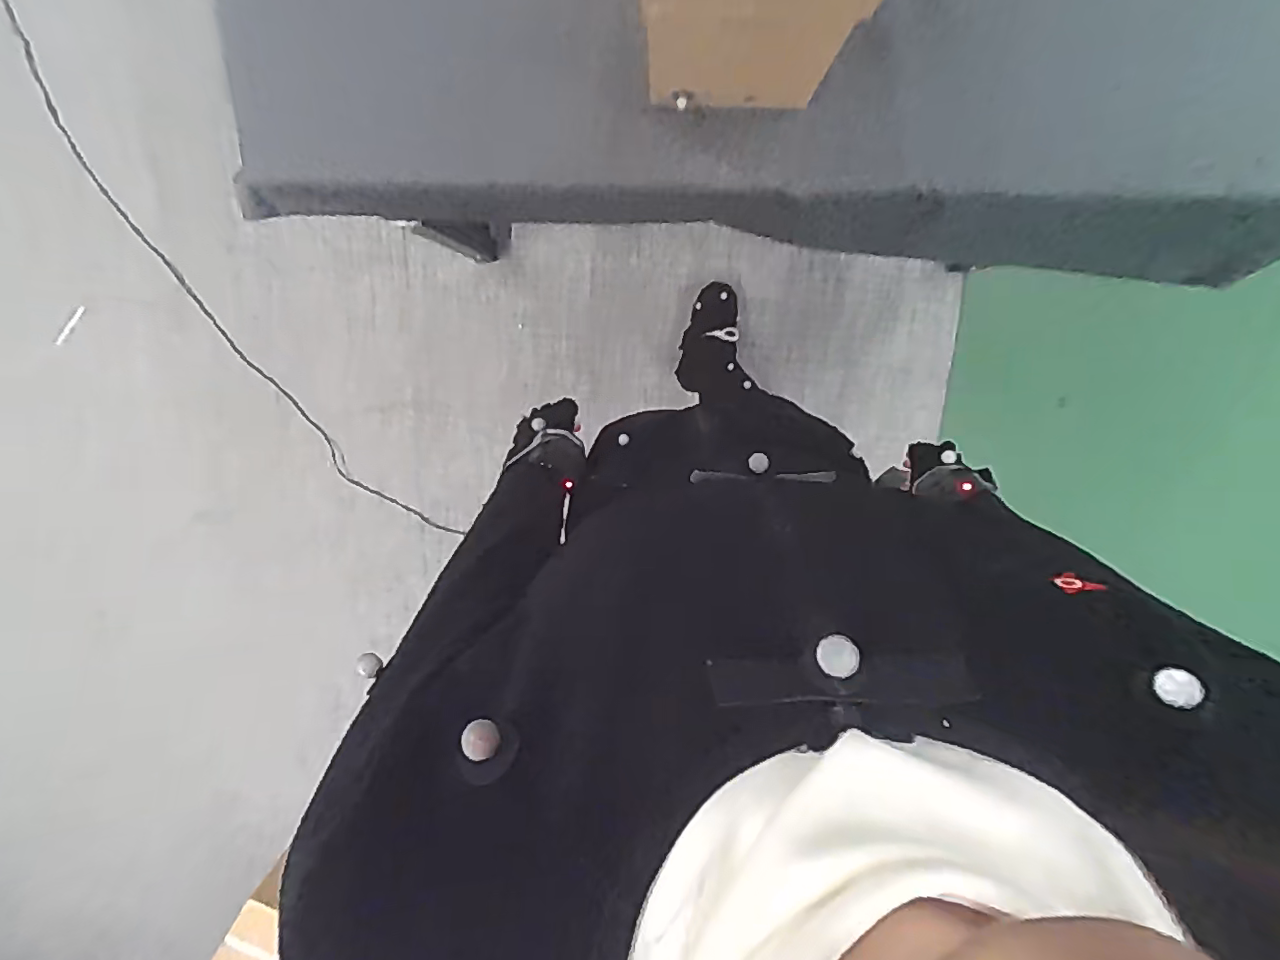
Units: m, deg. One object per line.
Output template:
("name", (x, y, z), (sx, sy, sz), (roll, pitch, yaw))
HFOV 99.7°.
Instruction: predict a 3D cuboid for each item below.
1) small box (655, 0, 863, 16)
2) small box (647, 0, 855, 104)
("small box", (0.090, -0.424, 0.326), (0.179, 0.176, 0.168), (-1, 101, 2))
("small box", (0.094, -0.465, 0.481), (0.168, 0.176, 0.179), (2, 102, 2))
